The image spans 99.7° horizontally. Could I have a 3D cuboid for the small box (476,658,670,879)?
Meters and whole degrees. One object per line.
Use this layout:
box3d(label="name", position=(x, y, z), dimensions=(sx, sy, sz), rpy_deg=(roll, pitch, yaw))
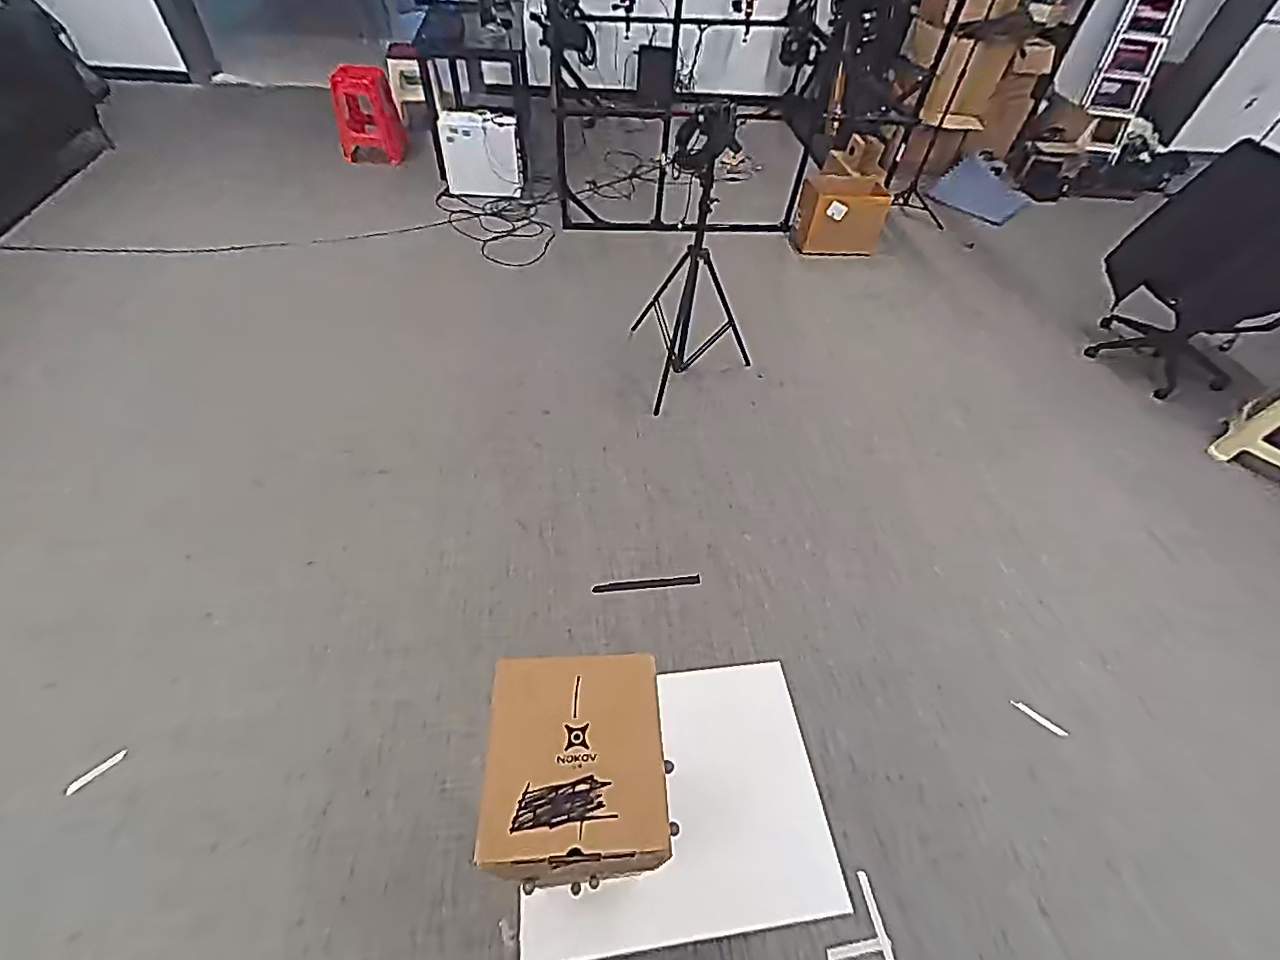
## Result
box3d(label="small box", position=(-0.063, 0.303, 0.563), dimensions=(0.168, 0.176, 0.179), rpy_deg=(0, 50, -5))

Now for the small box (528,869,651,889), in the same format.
box3d(label="small box", position=(-0.077, 0.506, 0.822), dimensions=(0.168, 0.176, 0.179), rpy_deg=(-3, 51, -8))
